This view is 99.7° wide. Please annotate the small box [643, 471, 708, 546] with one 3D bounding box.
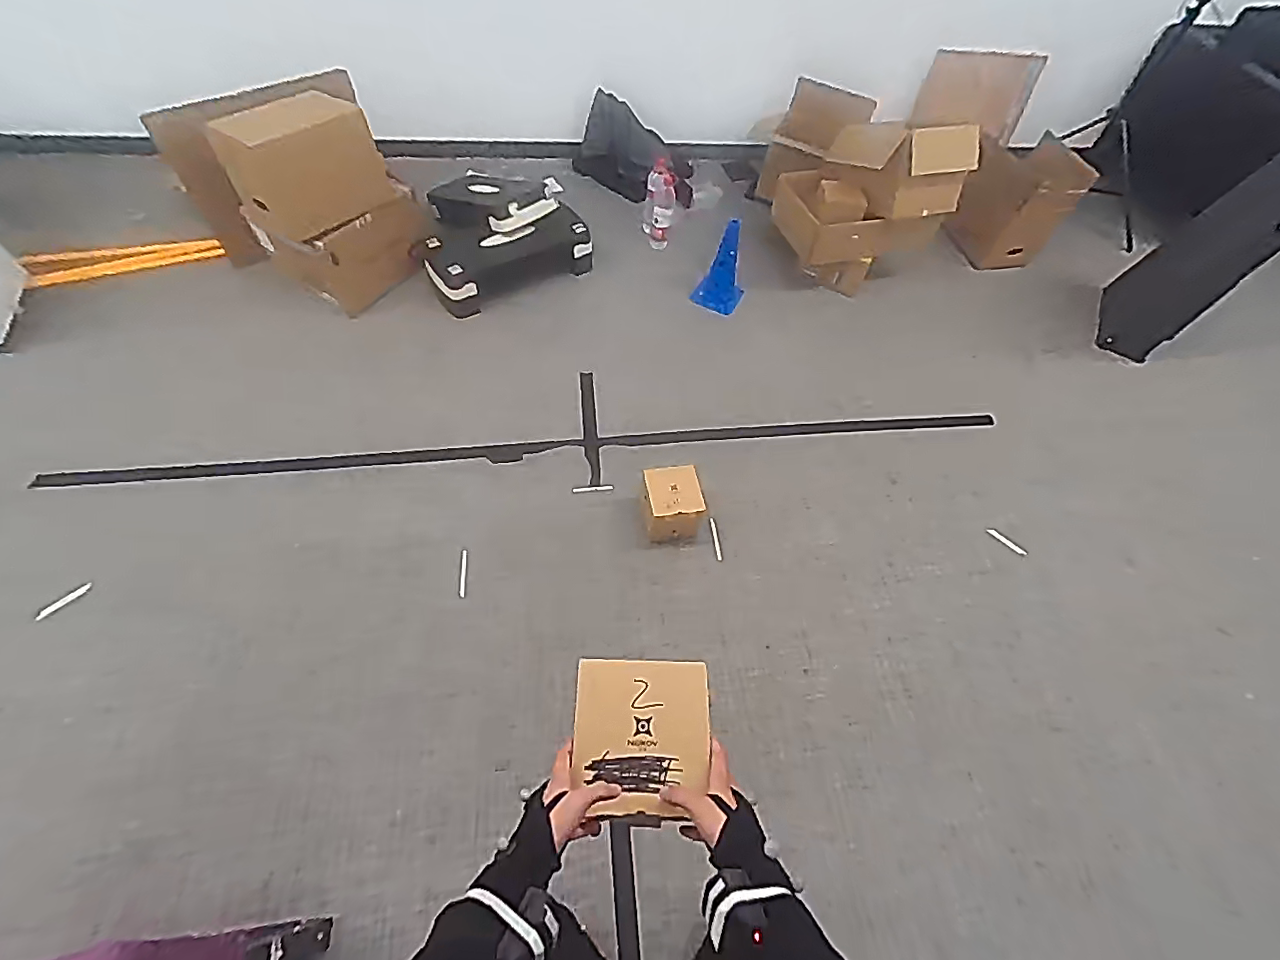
[{"bbox_3d":[0.106,0.094,1.735,0.168,0.176,0.179,-6,59,-9],"label":"small box"}]
